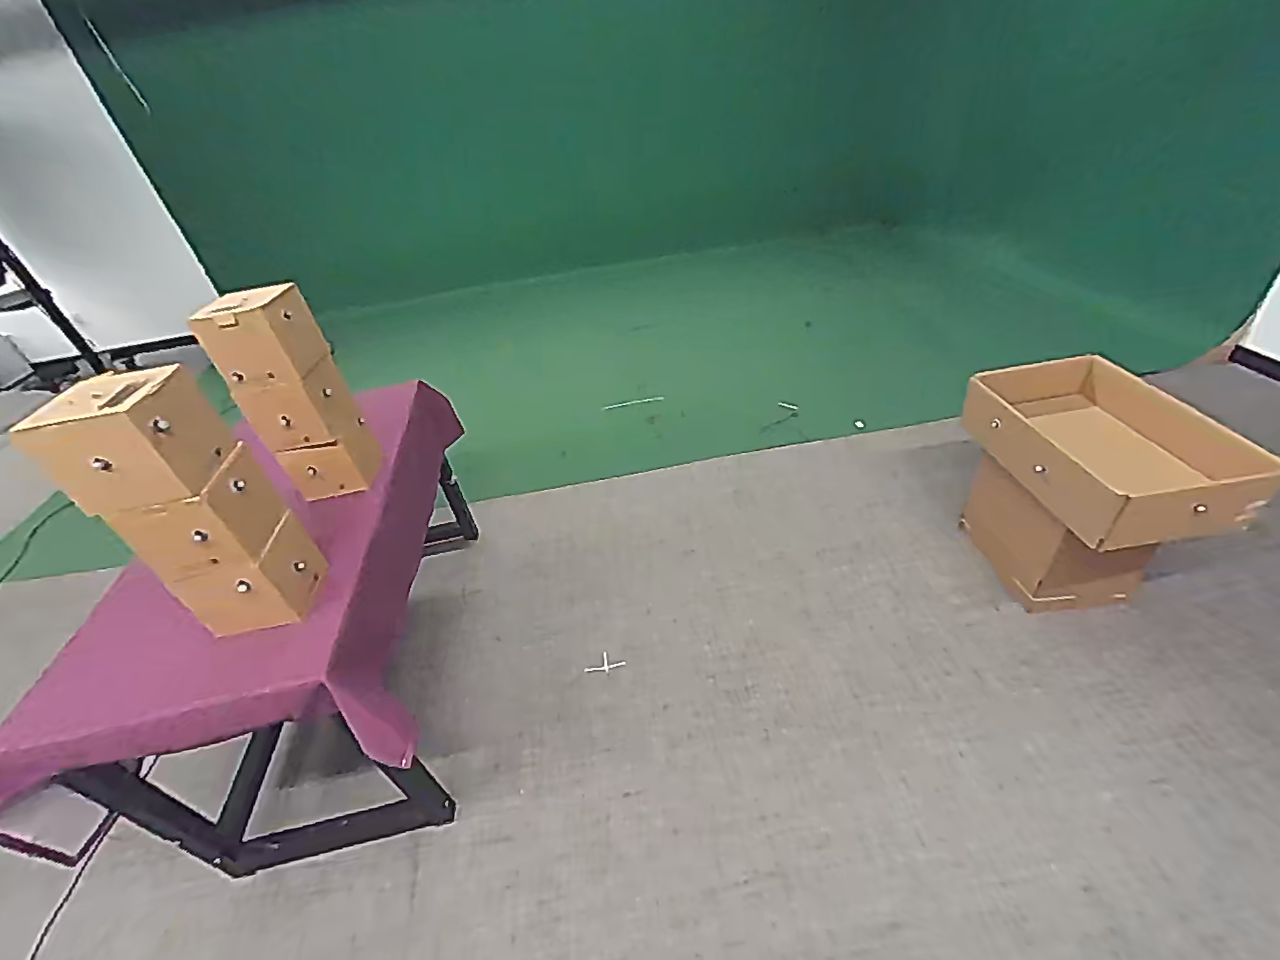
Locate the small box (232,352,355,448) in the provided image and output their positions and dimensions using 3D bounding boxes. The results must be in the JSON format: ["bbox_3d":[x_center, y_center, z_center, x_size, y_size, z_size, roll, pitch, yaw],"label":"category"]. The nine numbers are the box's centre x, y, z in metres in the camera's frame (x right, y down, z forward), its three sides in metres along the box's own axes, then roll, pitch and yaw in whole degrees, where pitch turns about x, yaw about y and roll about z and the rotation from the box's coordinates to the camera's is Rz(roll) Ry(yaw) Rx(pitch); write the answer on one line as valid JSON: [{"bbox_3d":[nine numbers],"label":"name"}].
[{"bbox_3d":[-0.837,-0.191,1.332,0.168,0.176,0.179,-9,38,1],"label":"small box"}]

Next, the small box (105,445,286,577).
[{"bbox_3d":[-0.803,0.062,1.004,0.168,0.176,0.179,-11,38,-3],"label":"small box"}]

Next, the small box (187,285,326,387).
[{"bbox_3d":[-0.861,-0.324,1.238,0.168,0.176,0.179,-10,37,1],"label":"small box"}]

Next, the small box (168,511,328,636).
[{"bbox_3d":[-0.778,0.192,1.100,0.179,0.176,0.168,-11,37,-1],"label":"small box"}]

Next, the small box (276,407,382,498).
[{"bbox_3d":[-0.814,-0.067,1.438,0.168,0.176,0.179,-12,38,-2],"label":"small box"}]
